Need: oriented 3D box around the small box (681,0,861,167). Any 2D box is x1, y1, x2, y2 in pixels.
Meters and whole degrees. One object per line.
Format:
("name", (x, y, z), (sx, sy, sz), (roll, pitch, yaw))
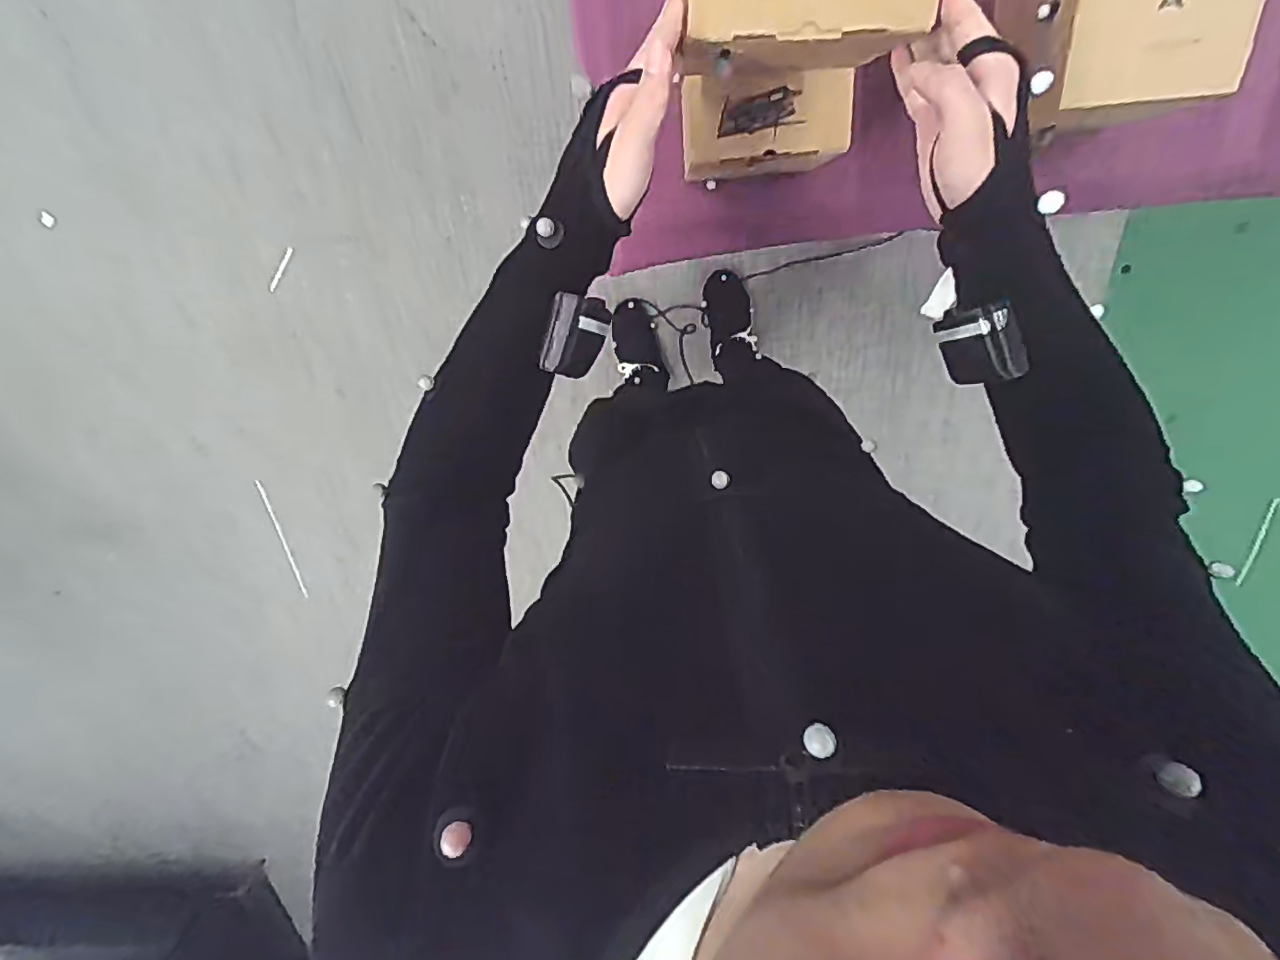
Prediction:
("small box", (0.132, -0.455, 0.597), (0.168, 0.176, 0.179), (-3, 114, 3))
